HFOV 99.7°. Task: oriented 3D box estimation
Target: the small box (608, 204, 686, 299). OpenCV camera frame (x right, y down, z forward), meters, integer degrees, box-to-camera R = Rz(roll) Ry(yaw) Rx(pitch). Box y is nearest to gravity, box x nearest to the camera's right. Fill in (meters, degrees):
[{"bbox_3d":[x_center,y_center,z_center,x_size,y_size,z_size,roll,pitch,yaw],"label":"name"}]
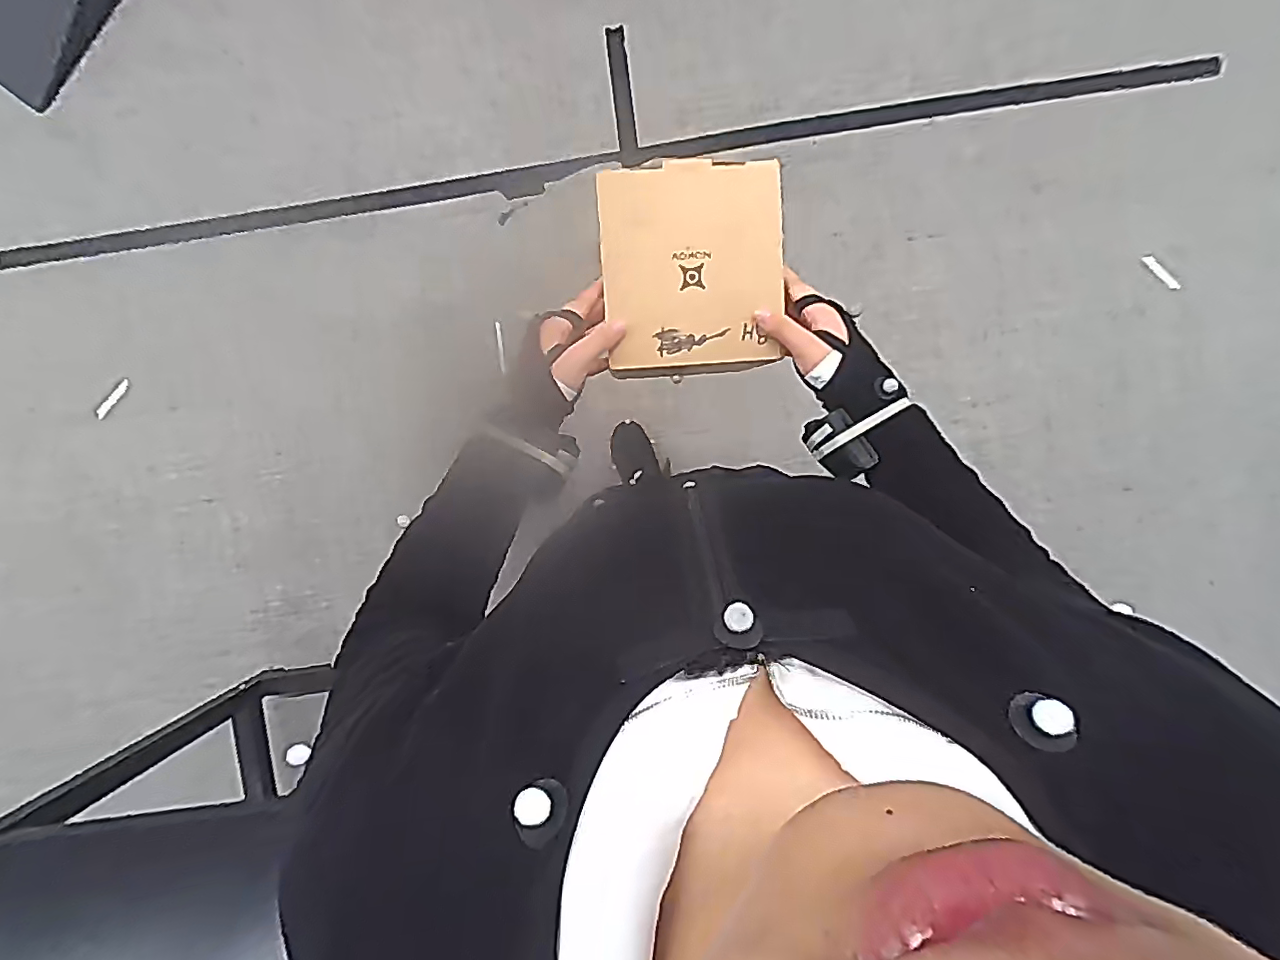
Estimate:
[{"bbox_3d":[0.017,-0.581,1.395,0.179,0.176,0.168,-8,91,2],"label":"small box"}]
